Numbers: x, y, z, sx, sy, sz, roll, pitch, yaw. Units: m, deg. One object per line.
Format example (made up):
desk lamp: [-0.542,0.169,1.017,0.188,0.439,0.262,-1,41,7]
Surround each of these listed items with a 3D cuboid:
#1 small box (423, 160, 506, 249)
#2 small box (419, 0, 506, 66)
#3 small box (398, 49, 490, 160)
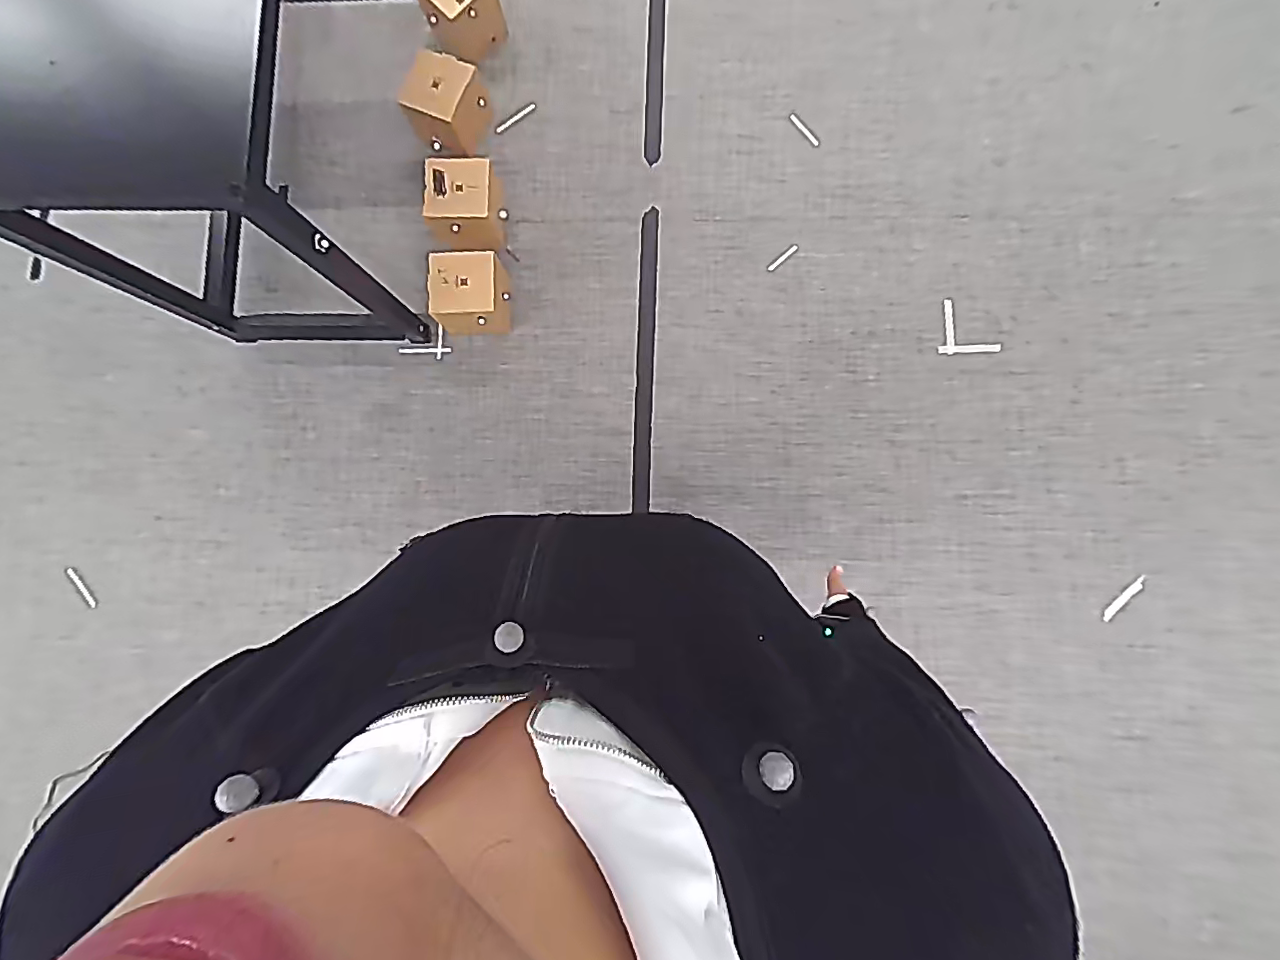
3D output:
small box: [-0.489,-0.769,1.521,0.179,0.176,0.168,0,86,0]
small box: [-0.520,-1.365,1.566,0.179,0.176,0.168,45,88,4]
small box: [-0.549,-1.064,1.547,0.168,0.176,0.179,22,88,4]
